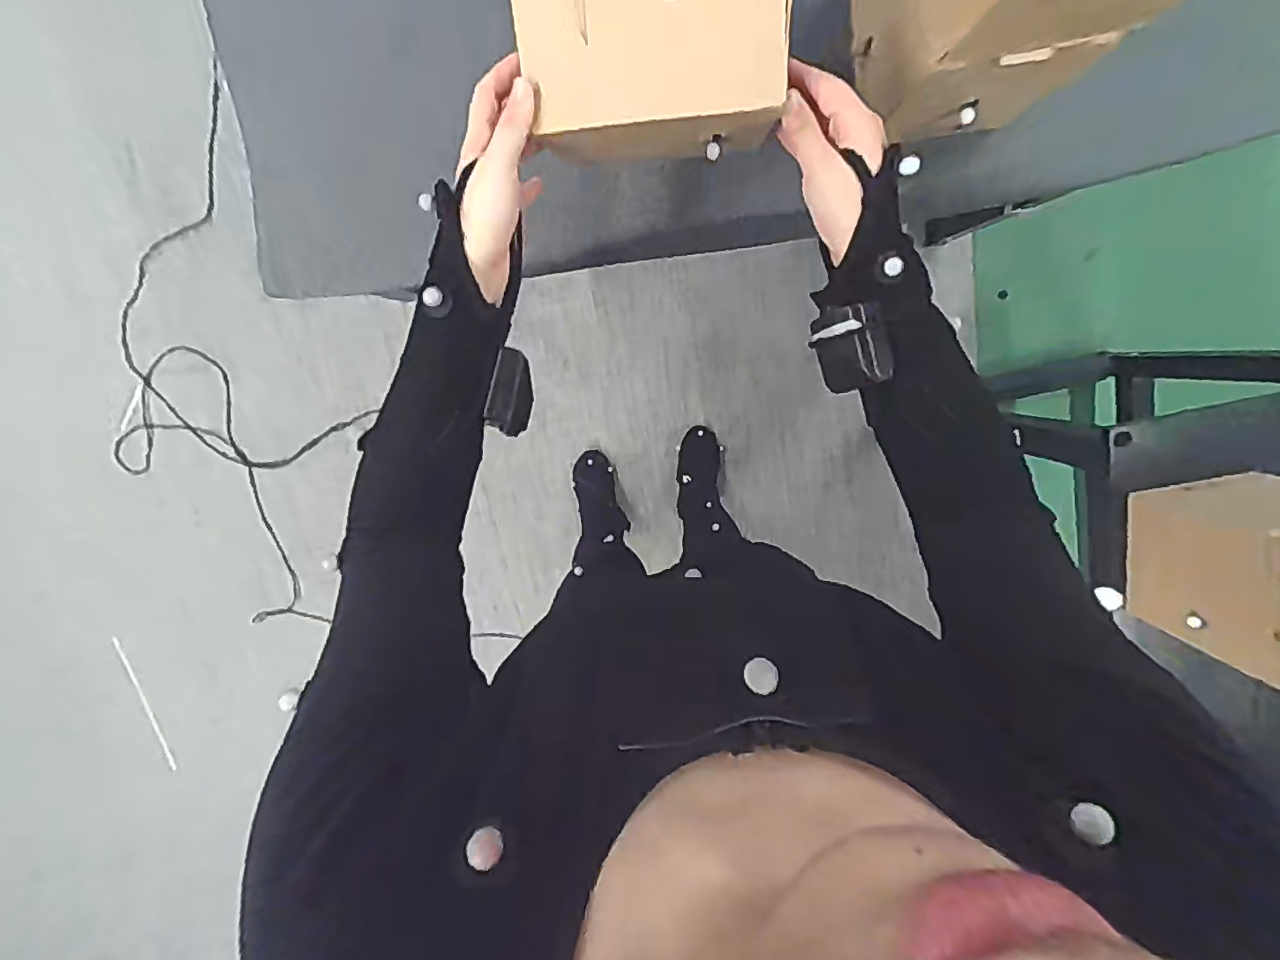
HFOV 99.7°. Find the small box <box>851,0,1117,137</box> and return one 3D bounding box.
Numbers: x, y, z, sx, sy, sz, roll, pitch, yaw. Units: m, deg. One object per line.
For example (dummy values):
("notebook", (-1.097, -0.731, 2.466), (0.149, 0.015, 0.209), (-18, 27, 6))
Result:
("small box", (0.317, -0.463, 0.527), (0.168, 0.176, 0.179), (-8, 101, 4))

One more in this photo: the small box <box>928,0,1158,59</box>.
("small box", (0.321, -0.434, 0.366), (0.179, 0.176, 0.168), (-9, 100, 4))

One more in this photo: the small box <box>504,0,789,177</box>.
("small box", (0.007, -0.335, 0.400), (0.179, 0.176, 0.168), (-3, 111, 7))
